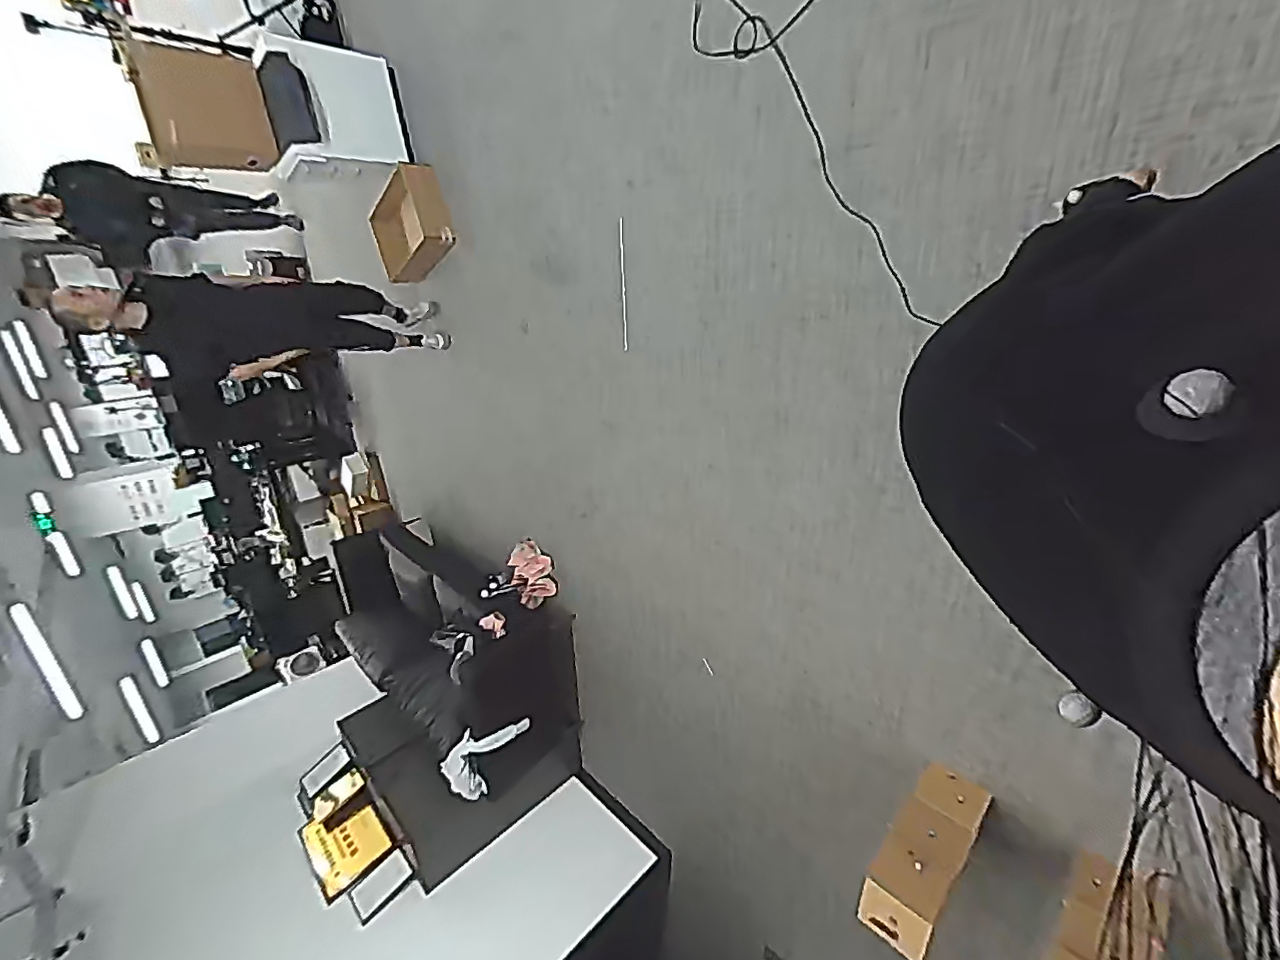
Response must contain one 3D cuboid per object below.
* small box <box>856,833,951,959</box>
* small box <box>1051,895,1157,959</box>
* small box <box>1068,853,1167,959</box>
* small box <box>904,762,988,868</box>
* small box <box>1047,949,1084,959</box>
[{"bbox_3d":[0.696,1.095,1.428,0.168,0.176,0.179,20,120,41],"label":"small box"},{"bbox_3d":[1.087,1.146,1.275,0.179,0.176,0.168,13,115,43],"label":"small box"},{"bbox_3d":[1.207,1.106,1.381,0.179,0.176,0.168,13,116,43],"label":"small box"},{"bbox_3d":[0.931,1.006,1.641,0.168,0.176,0.179,21,121,41],"label":"small box"},{"bbox_3d":[0.965,1.177,1.167,0.179,0.176,0.168,15,118,43],"label":"small box"}]
